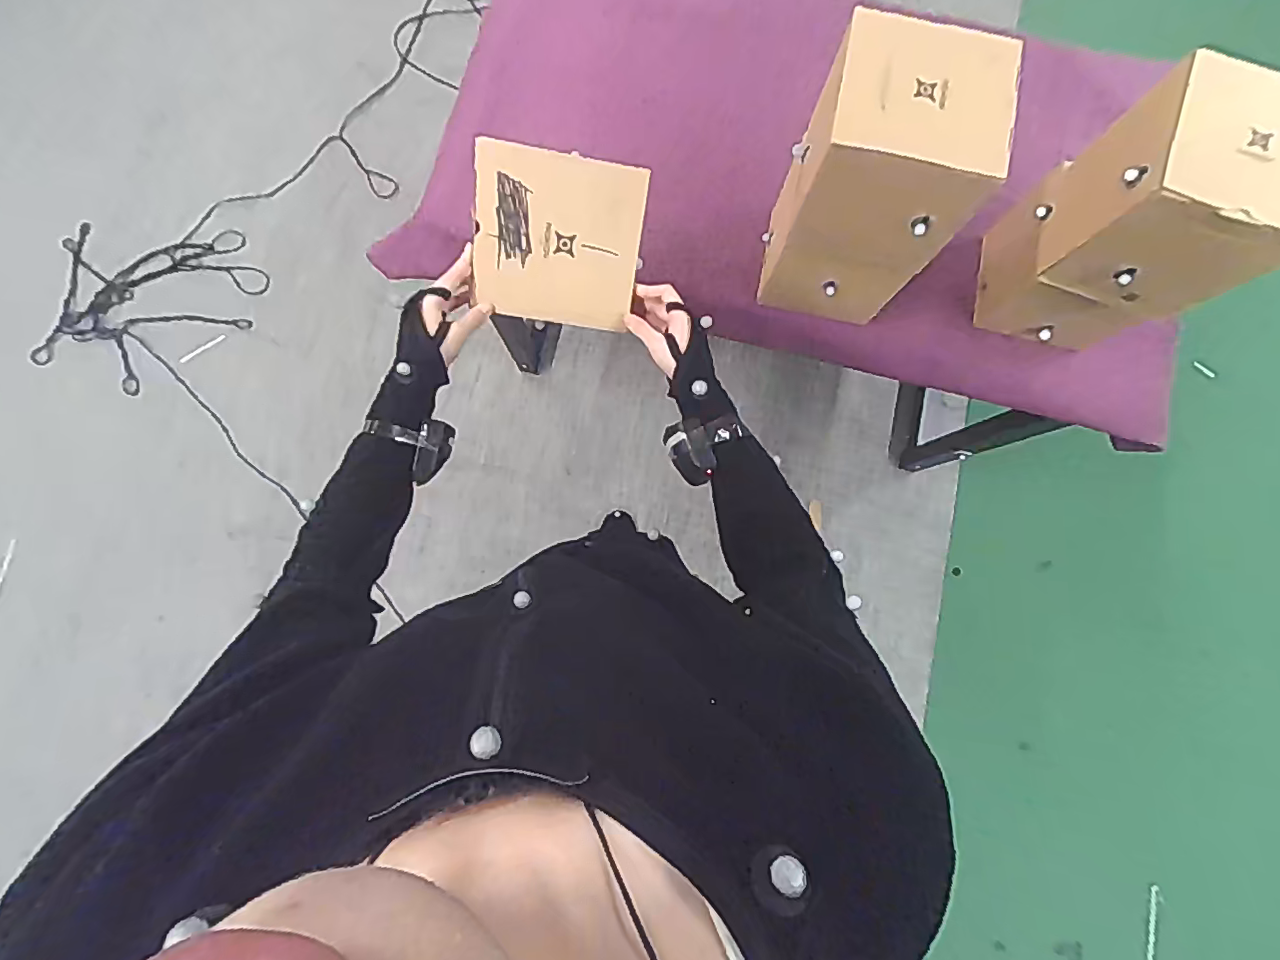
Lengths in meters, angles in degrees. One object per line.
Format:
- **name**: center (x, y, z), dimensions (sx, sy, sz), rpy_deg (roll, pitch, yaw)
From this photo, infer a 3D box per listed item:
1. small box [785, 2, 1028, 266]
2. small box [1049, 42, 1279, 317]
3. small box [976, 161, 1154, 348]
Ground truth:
- **small box**: center (0.281, -0.366, 0.603), dimensions (0.179, 0.176, 0.168), rpy_deg (13, 79, 2)
- **small box**: center (0.605, -0.316, 0.600), dimensions (0.168, 0.176, 0.179), rpy_deg (21, 82, 3)
- **small box**: center (0.621, -0.304, 0.765), dimensions (0.179, 0.176, 0.168), rpy_deg (13, 80, 2)
